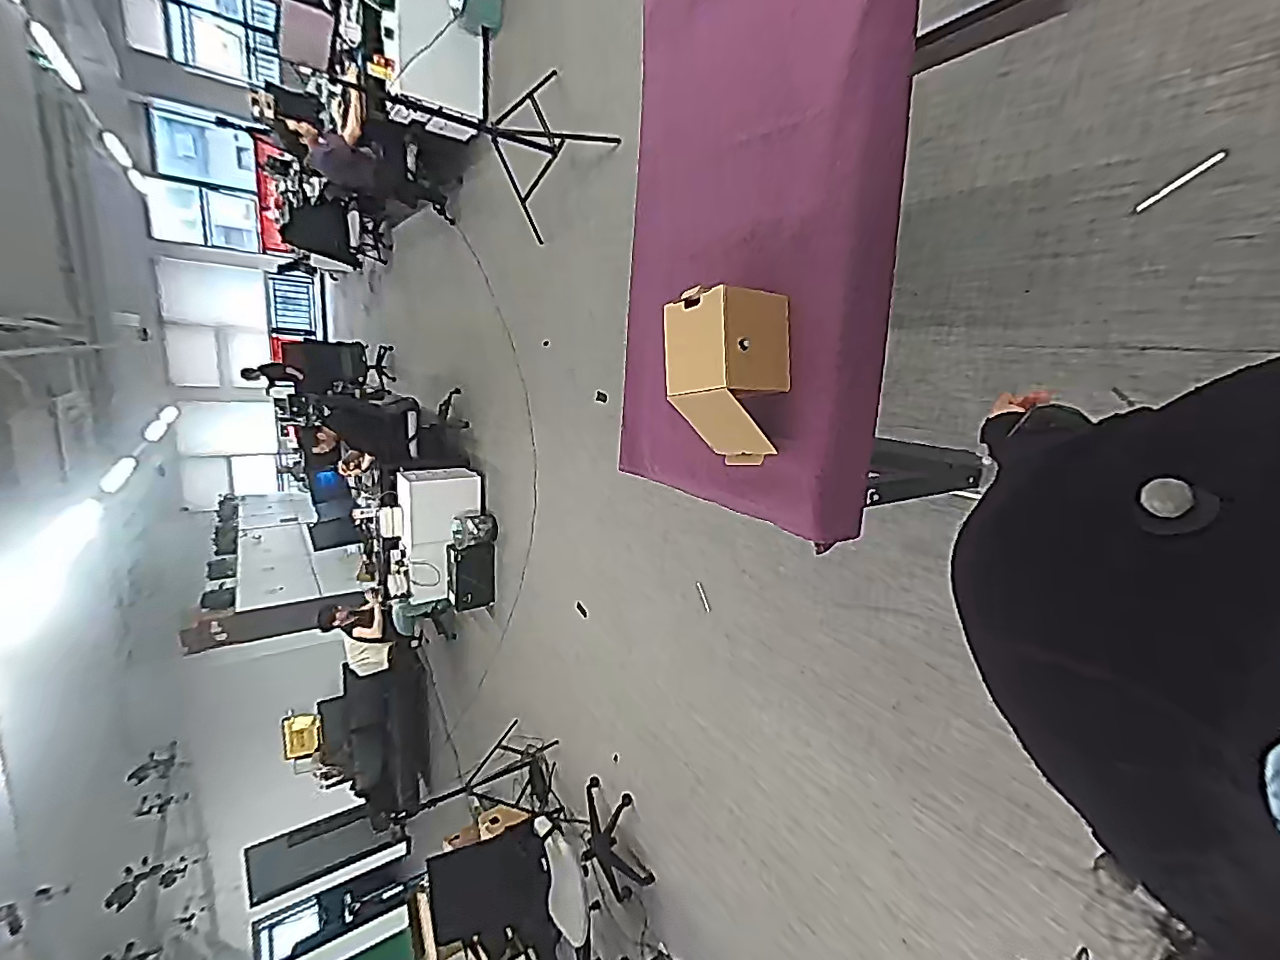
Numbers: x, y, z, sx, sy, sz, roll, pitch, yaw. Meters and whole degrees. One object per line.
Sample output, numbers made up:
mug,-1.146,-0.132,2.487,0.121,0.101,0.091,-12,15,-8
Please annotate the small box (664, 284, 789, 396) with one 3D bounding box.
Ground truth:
small box,0.162,-0.250,1.008,0.168,0.176,0.179,4,97,54
